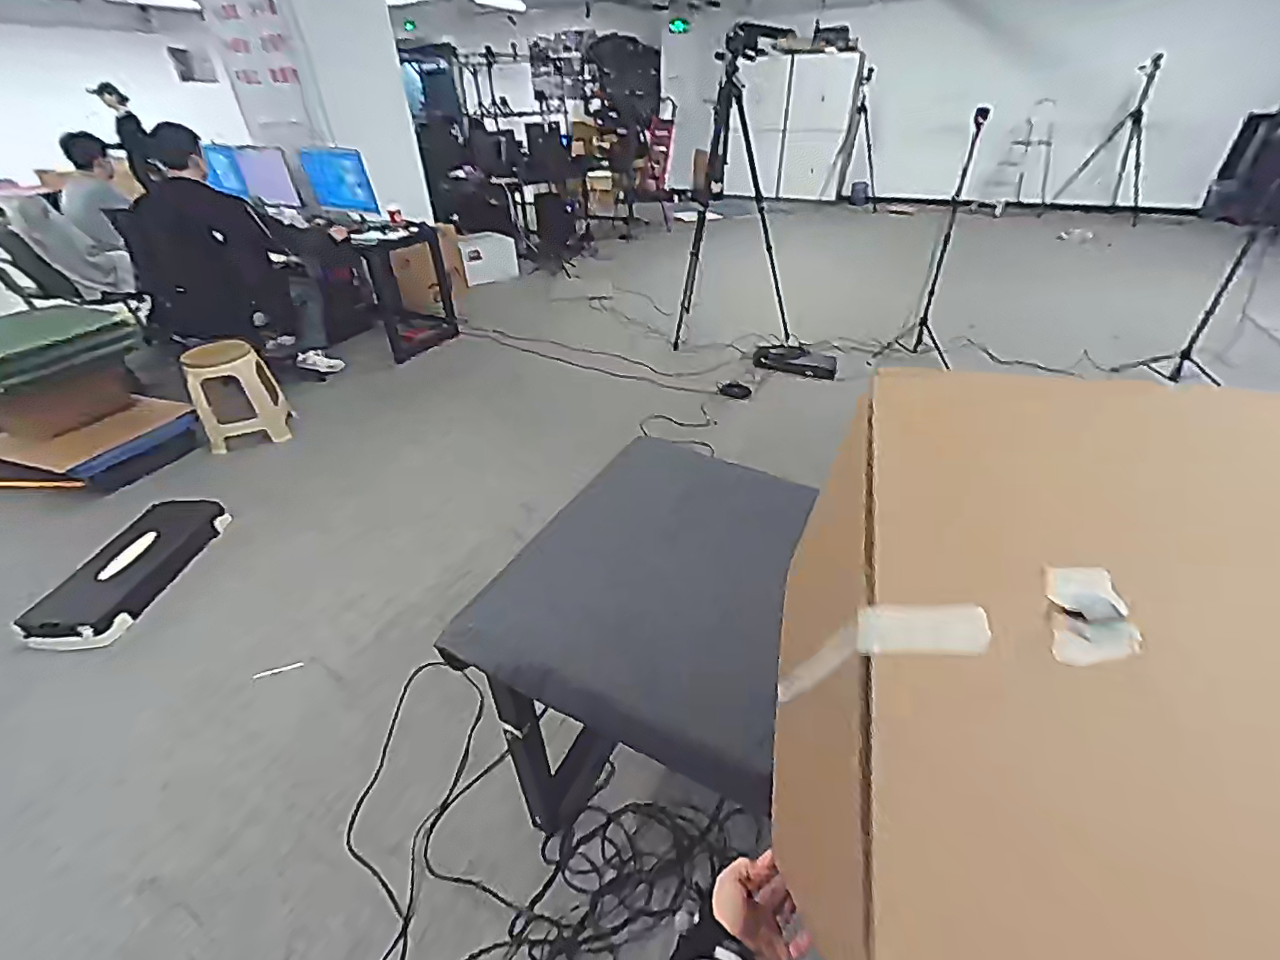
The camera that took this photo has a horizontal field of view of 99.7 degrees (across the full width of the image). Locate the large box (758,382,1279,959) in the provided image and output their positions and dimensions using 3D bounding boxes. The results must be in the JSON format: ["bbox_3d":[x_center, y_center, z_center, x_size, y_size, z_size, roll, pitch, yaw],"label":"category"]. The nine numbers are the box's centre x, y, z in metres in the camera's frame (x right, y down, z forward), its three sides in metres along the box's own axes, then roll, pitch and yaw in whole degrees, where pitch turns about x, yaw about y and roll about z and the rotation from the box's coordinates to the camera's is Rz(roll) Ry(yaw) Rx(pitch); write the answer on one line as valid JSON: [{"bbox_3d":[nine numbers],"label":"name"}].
[{"bbox_3d":[0.276,0.164,0.418,0.320,0.408,0.320,6,66,9],"label":"large box"}]
